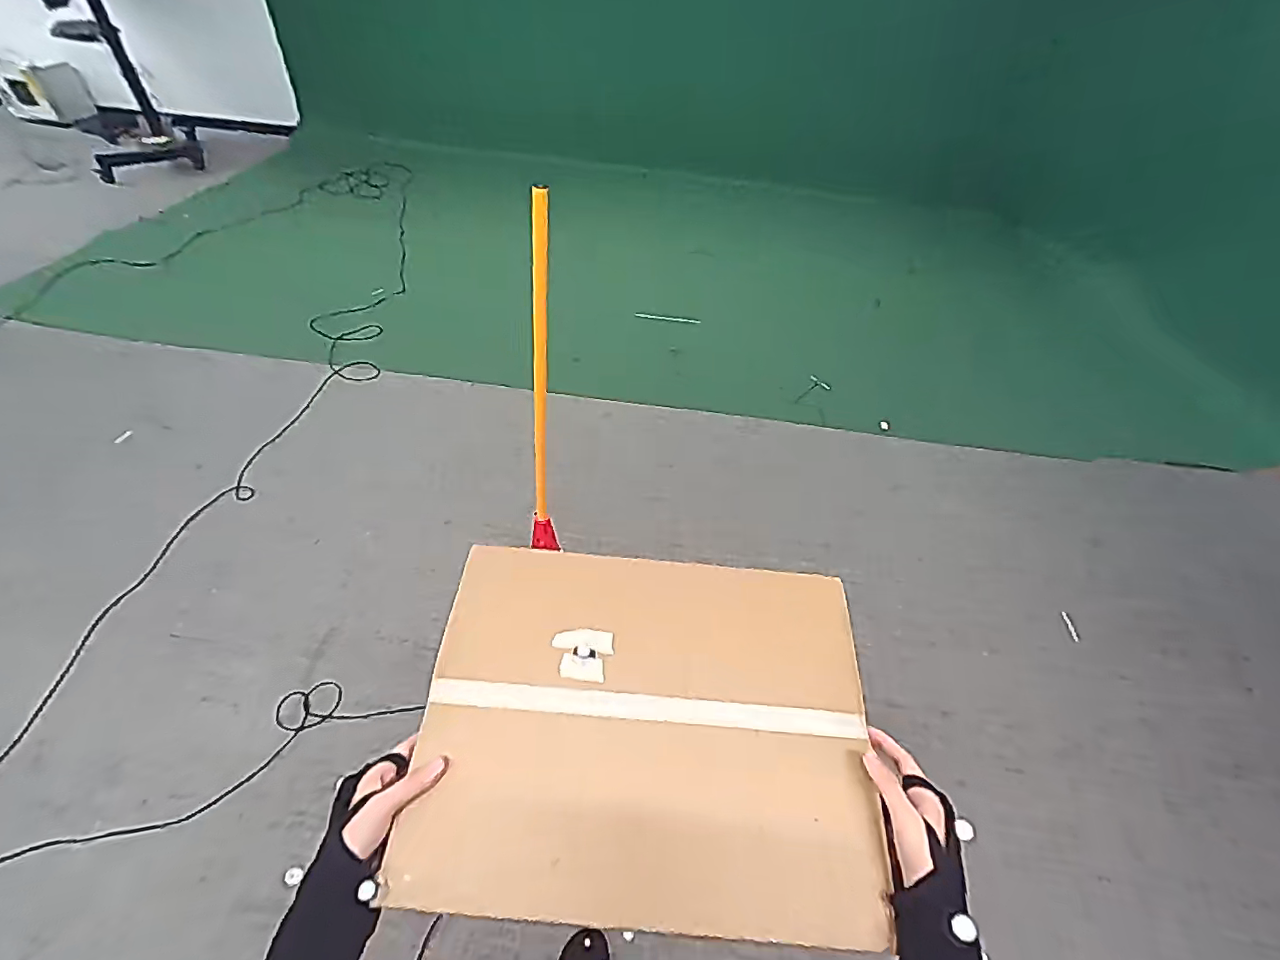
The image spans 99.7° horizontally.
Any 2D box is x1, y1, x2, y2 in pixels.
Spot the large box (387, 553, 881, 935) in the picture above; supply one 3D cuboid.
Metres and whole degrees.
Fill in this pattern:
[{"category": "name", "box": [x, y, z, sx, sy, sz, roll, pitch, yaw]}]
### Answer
[{"category": "large box", "box": [0.001, 0.304, 0.636, 0.408, 0.320, 0.320, 5, 54, 1]}]
